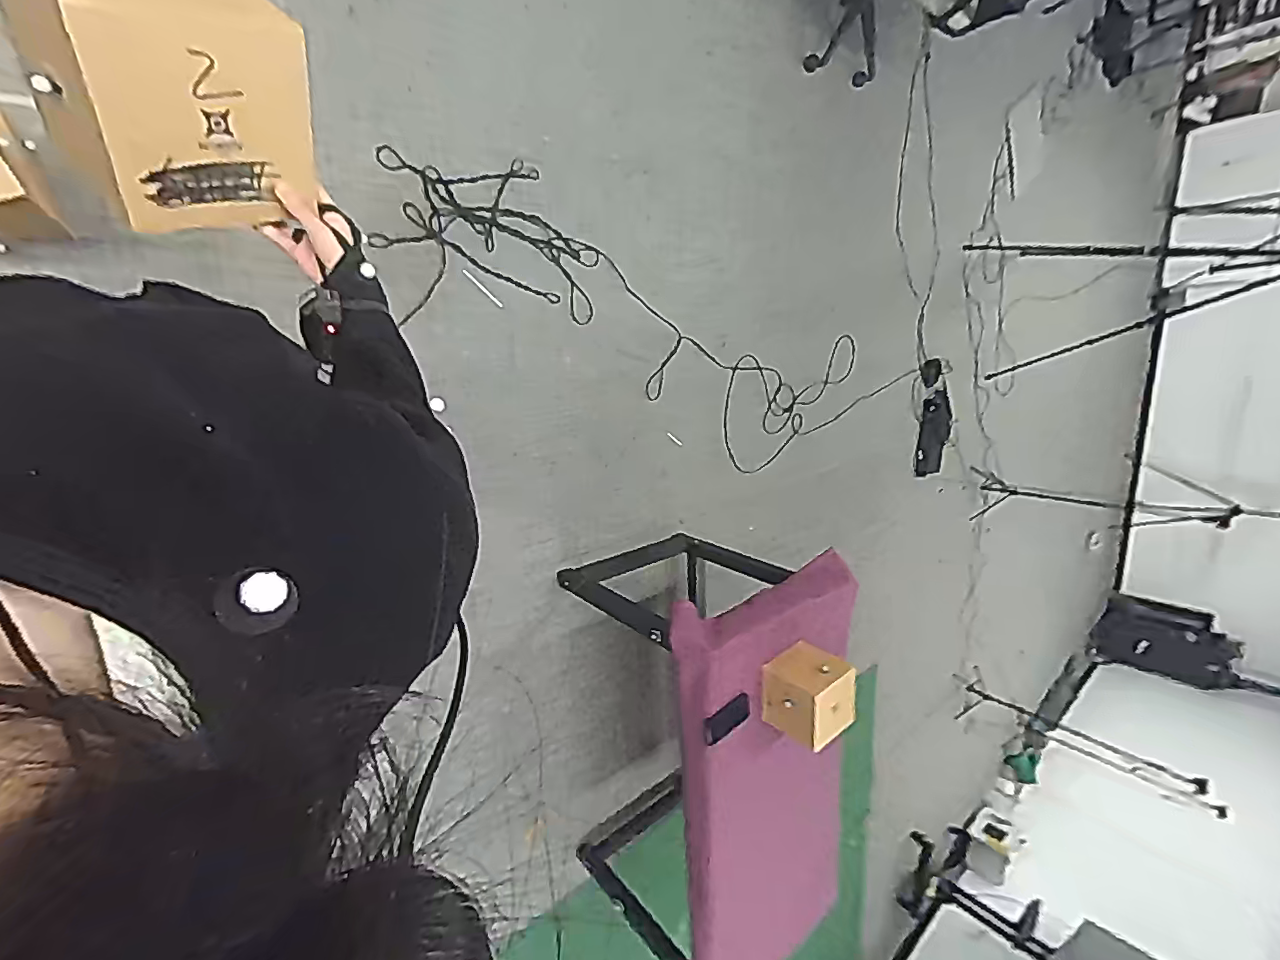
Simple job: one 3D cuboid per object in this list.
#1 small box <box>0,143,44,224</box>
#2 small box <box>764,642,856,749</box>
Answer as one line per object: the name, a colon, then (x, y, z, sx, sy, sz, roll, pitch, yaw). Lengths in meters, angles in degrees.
small box: (-1.001, -0.454, 0.750, 0.168, 0.176, 0.179, -33, 118, -29)
small box: (0.438, 0.550, 1.403, 0.179, 0.176, 0.168, -16, 108, -37)
